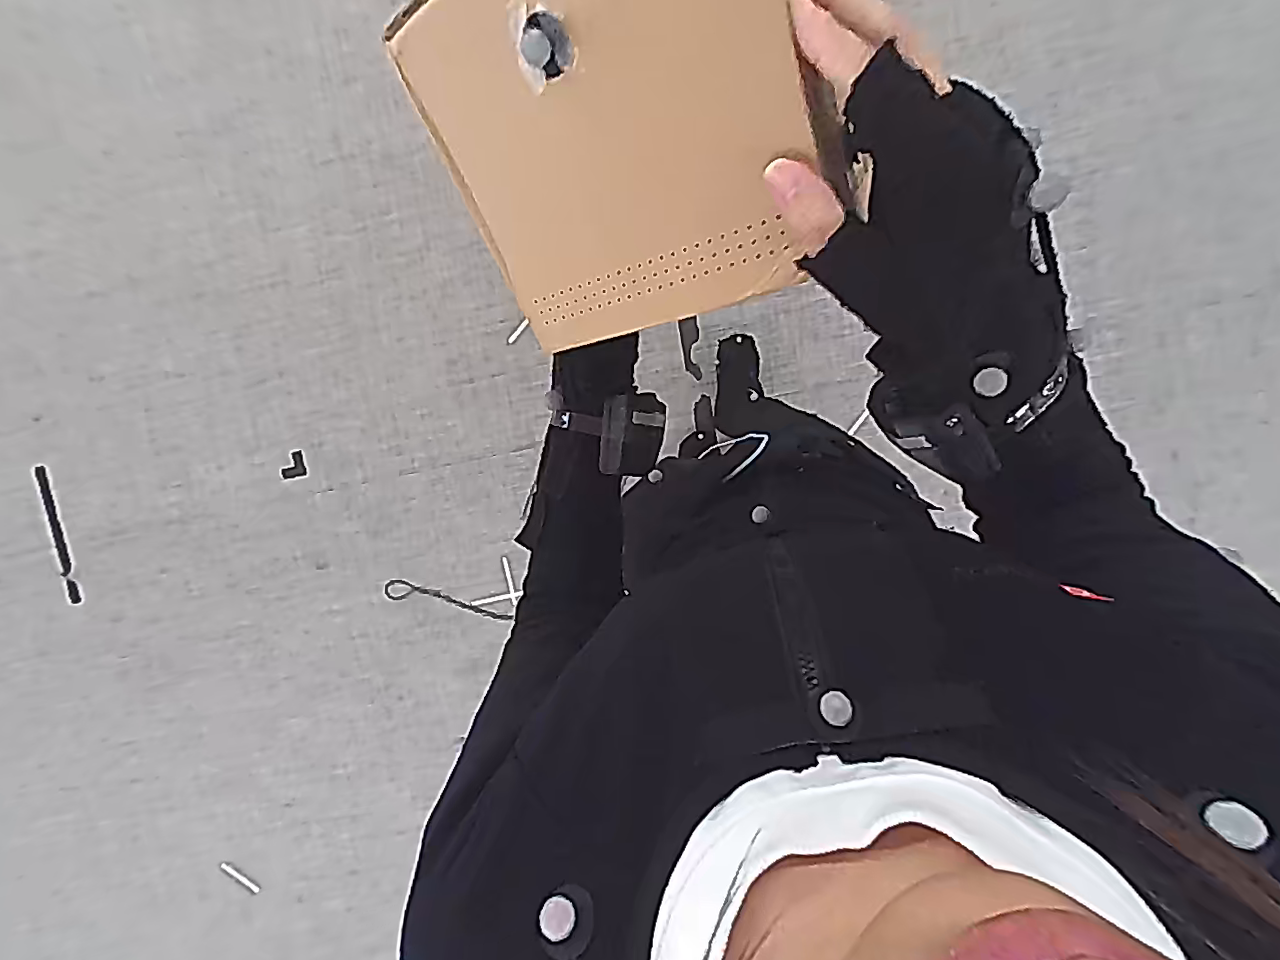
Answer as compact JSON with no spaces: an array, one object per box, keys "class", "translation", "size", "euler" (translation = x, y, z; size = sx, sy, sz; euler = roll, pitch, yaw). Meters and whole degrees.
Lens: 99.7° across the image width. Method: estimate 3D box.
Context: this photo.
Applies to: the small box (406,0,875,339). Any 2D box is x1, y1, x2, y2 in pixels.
[{"class":"small box","translation":[0.017,-0.200,0.310],"size":[0.179,0.168,0.176],"euler":[-4,127,36]}]
